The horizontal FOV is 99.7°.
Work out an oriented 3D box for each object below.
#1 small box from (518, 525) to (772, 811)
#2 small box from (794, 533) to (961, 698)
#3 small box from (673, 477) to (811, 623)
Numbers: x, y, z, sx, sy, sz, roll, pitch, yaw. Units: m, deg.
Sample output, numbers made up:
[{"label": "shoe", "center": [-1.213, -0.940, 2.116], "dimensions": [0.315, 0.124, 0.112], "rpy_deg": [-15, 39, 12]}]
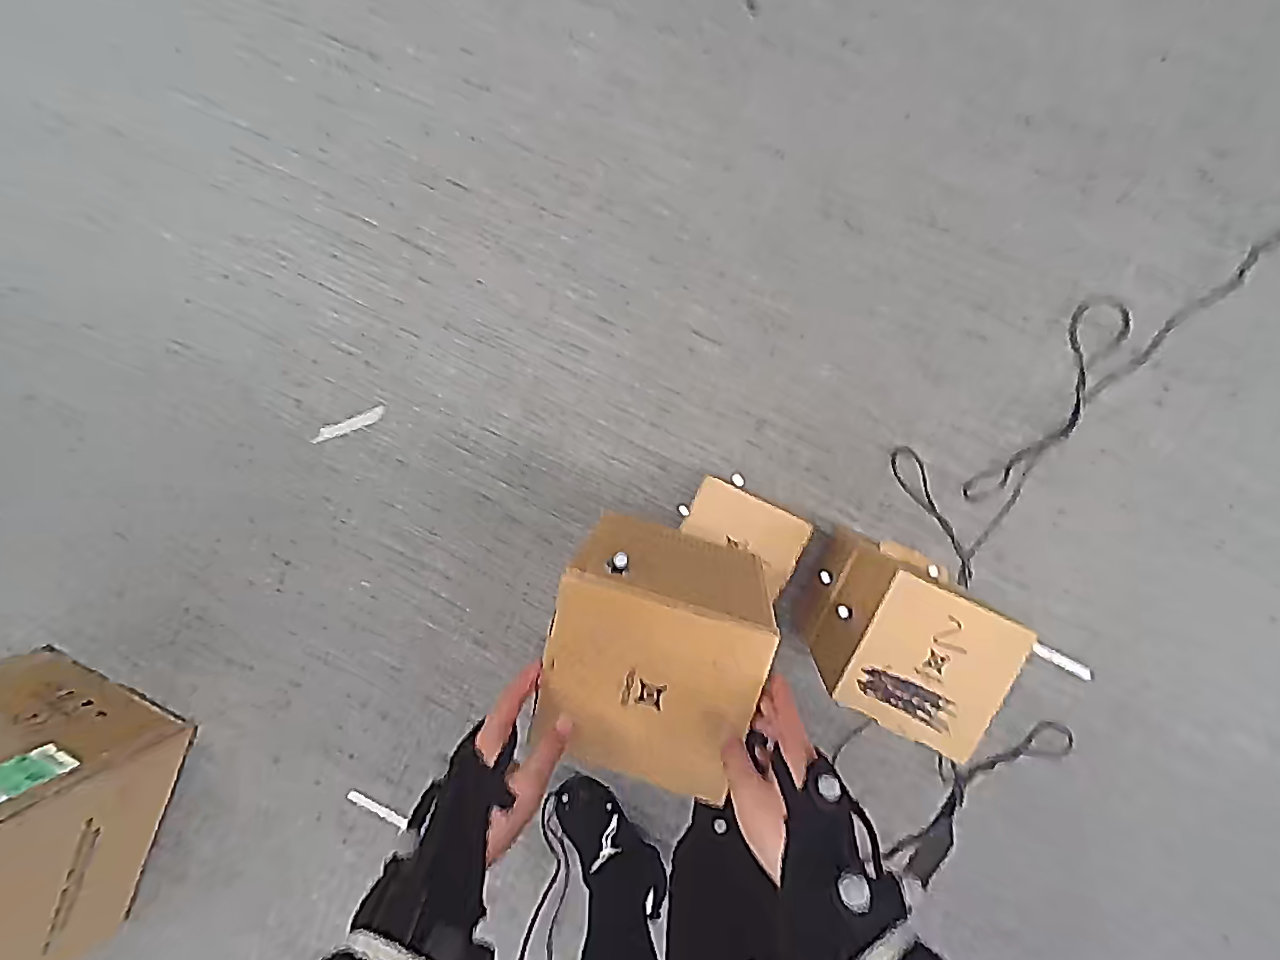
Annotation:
[{"label": "small box", "center": [0.009, 0.155, 0.504], "dimensions": [0.179, 0.176, 0.168], "rpy_deg": [15, 105, 5]}, {"label": "small box", "center": [0.360, 0.201, 0.861], "dimensions": [0.168, 0.176, 0.179], "rpy_deg": [25, 97, 6]}, {"label": "small box", "center": [0.151, 0.104, 0.886], "dimensions": [0.179, 0.176, 0.168], "rpy_deg": [27, 97, 7]}]
